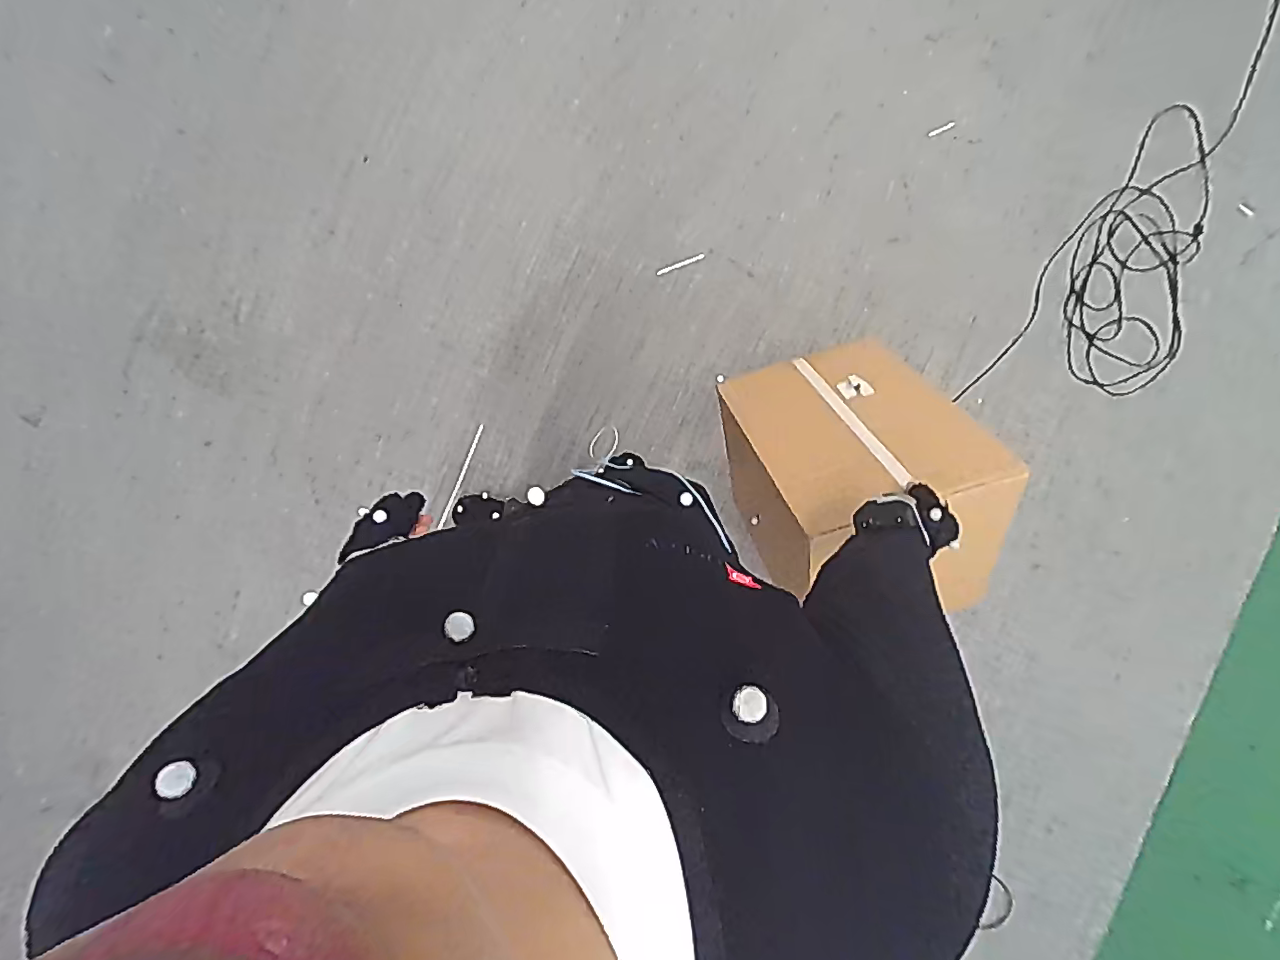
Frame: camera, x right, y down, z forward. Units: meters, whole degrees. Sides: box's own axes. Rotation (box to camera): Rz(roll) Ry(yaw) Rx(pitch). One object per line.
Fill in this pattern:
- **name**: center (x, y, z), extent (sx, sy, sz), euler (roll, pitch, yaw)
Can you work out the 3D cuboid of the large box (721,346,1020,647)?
- **large box**: center (0.370, 0.019, 0.980), extent (0.320, 0.408, 0.320), euler (-16, 132, -1)
